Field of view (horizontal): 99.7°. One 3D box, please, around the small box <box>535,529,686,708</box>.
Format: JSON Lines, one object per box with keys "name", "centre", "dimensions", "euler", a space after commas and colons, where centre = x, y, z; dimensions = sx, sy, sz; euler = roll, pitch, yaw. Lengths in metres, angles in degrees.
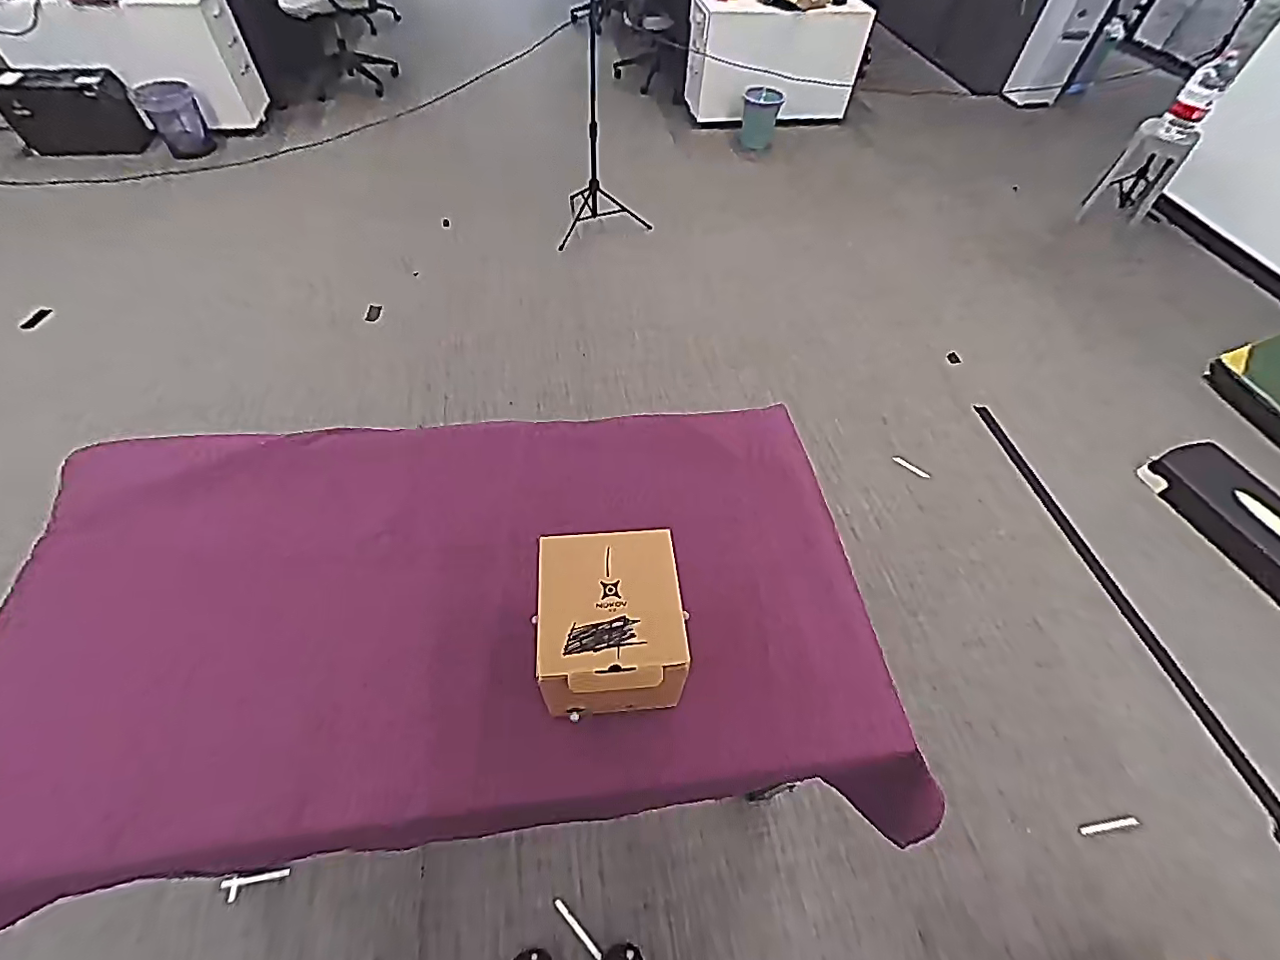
{"name": "small box", "centre": [-0.039, 0.182, 0.690], "dimensions": [0.168, 0.176, 0.179], "euler": [-2, 53, -5]}
